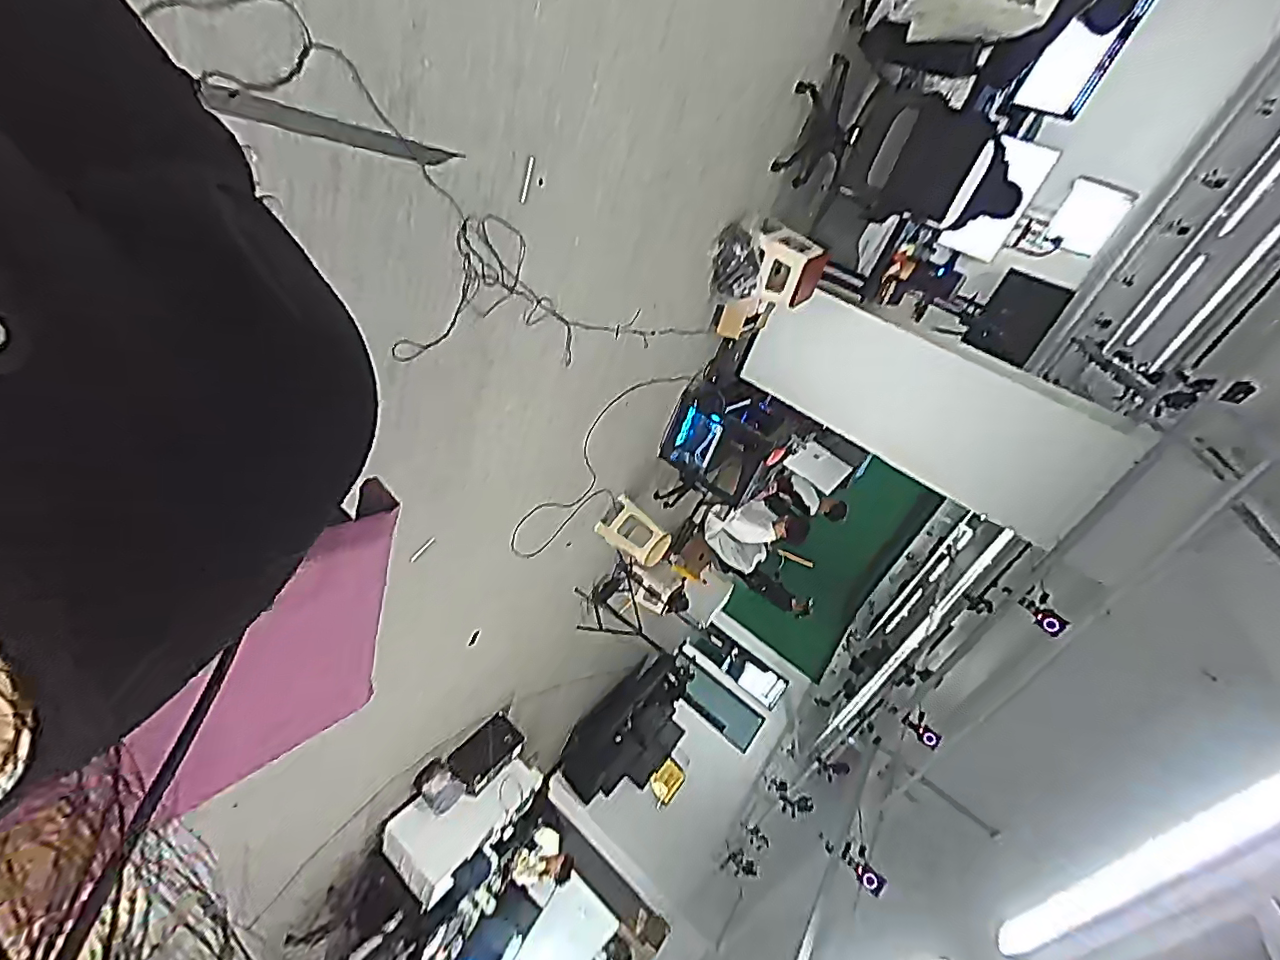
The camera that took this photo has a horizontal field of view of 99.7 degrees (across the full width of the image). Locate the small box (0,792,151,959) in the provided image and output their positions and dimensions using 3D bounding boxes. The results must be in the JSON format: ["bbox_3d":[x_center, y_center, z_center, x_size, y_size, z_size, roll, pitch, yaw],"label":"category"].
[{"bbox_3d":[-0.930,0.644,0.864,0.168,0.176,0.179,-25,144,-52],"label":"small box"}]
